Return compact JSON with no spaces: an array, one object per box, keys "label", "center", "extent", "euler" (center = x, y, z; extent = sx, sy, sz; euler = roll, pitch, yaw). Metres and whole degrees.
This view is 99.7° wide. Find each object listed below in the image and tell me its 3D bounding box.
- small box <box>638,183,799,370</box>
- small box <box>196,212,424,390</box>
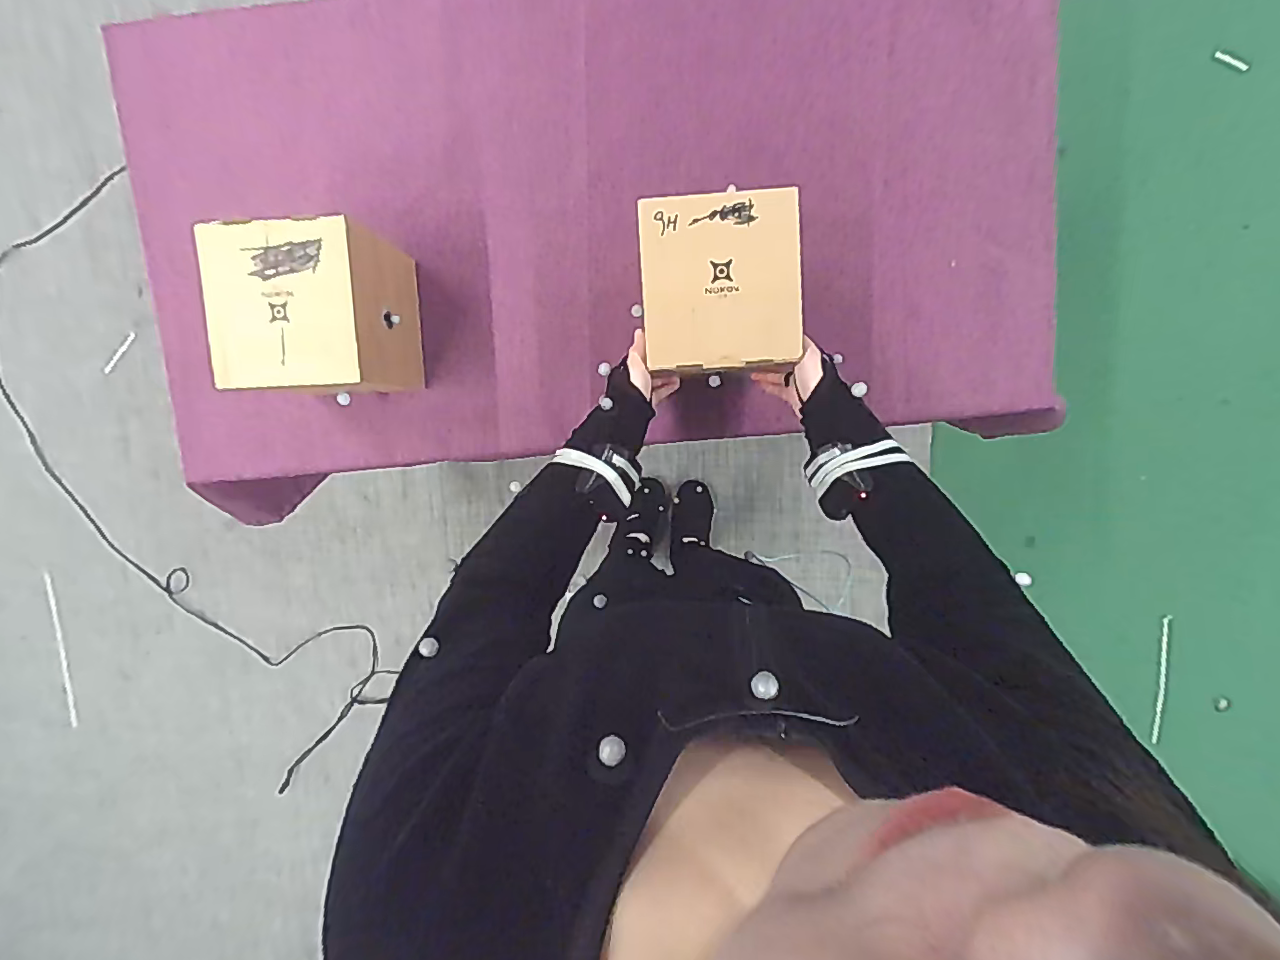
[{"label":"small box","center":[0.086,-0.222,0.639],"extent":[0.168,0.176,0.179],"euler":[-3,98,2]},{"label":"small box","center":[-0.380,-0.202,0.656],"extent":[0.168,0.176,0.179],"euler":[-2,98,2]}]
